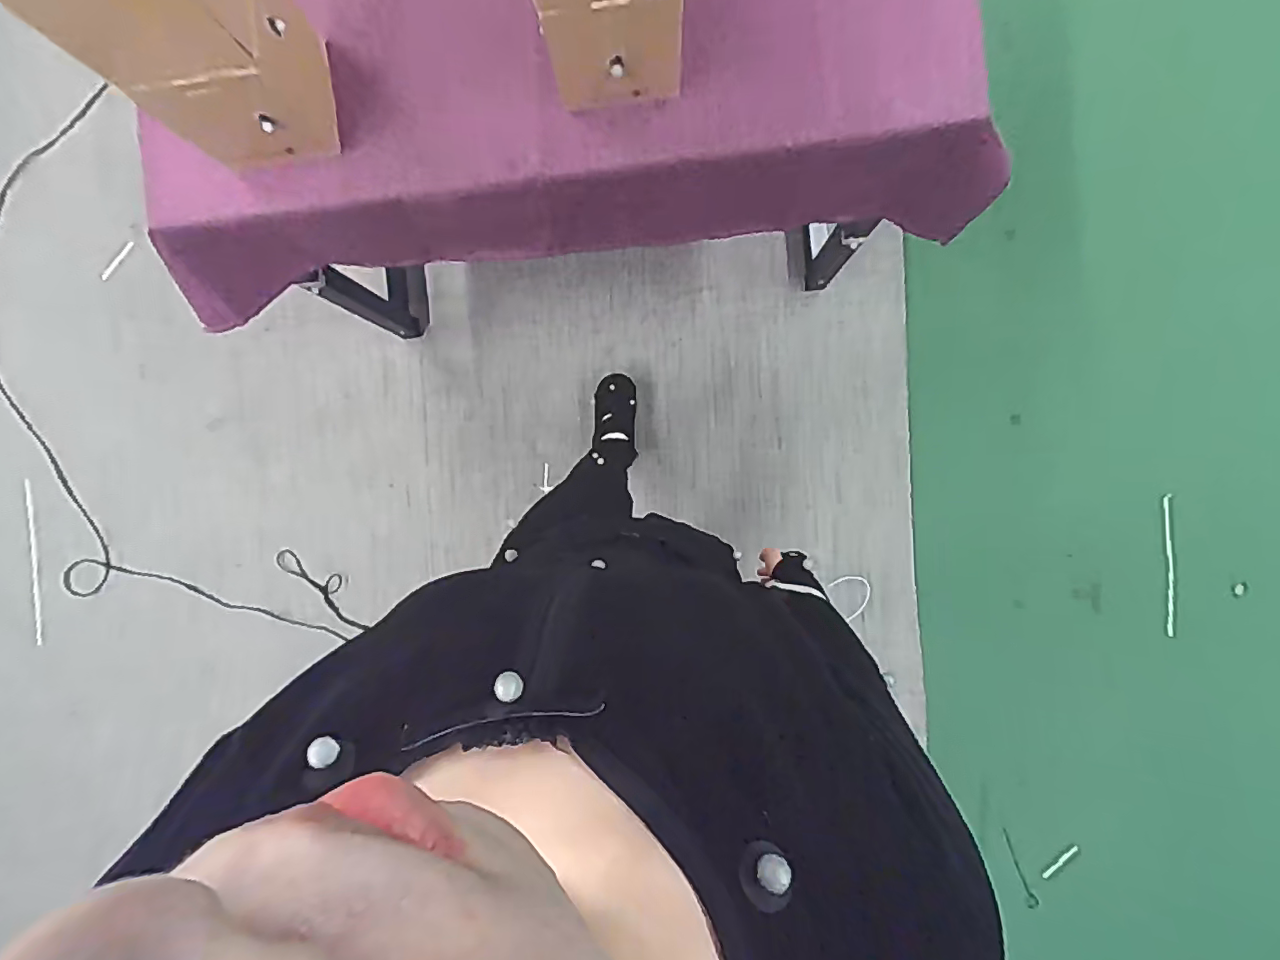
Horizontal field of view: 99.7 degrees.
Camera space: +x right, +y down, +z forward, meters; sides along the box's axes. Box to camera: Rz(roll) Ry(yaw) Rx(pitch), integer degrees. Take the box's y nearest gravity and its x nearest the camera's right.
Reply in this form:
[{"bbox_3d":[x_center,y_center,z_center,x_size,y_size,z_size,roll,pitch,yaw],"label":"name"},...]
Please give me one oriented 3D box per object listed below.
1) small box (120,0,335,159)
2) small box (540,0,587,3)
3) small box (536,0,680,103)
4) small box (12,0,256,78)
[{"bbox_3d":[-0.522,-0.544,0.698,0.168,0.176,0.179,-7,90,1],"label":"small box"},{"bbox_3d":[-0.041,-0.606,0.513,0.179,0.176,0.168,-6,91,2],"label":"small box"},{"bbox_3d":[-0.037,-0.610,0.679,0.168,0.176,0.179,-5,91,2],"label":"small box"},{"bbox_3d":[-0.532,-0.543,0.536,0.179,0.176,0.168,-9,90,1],"label":"small box"}]
